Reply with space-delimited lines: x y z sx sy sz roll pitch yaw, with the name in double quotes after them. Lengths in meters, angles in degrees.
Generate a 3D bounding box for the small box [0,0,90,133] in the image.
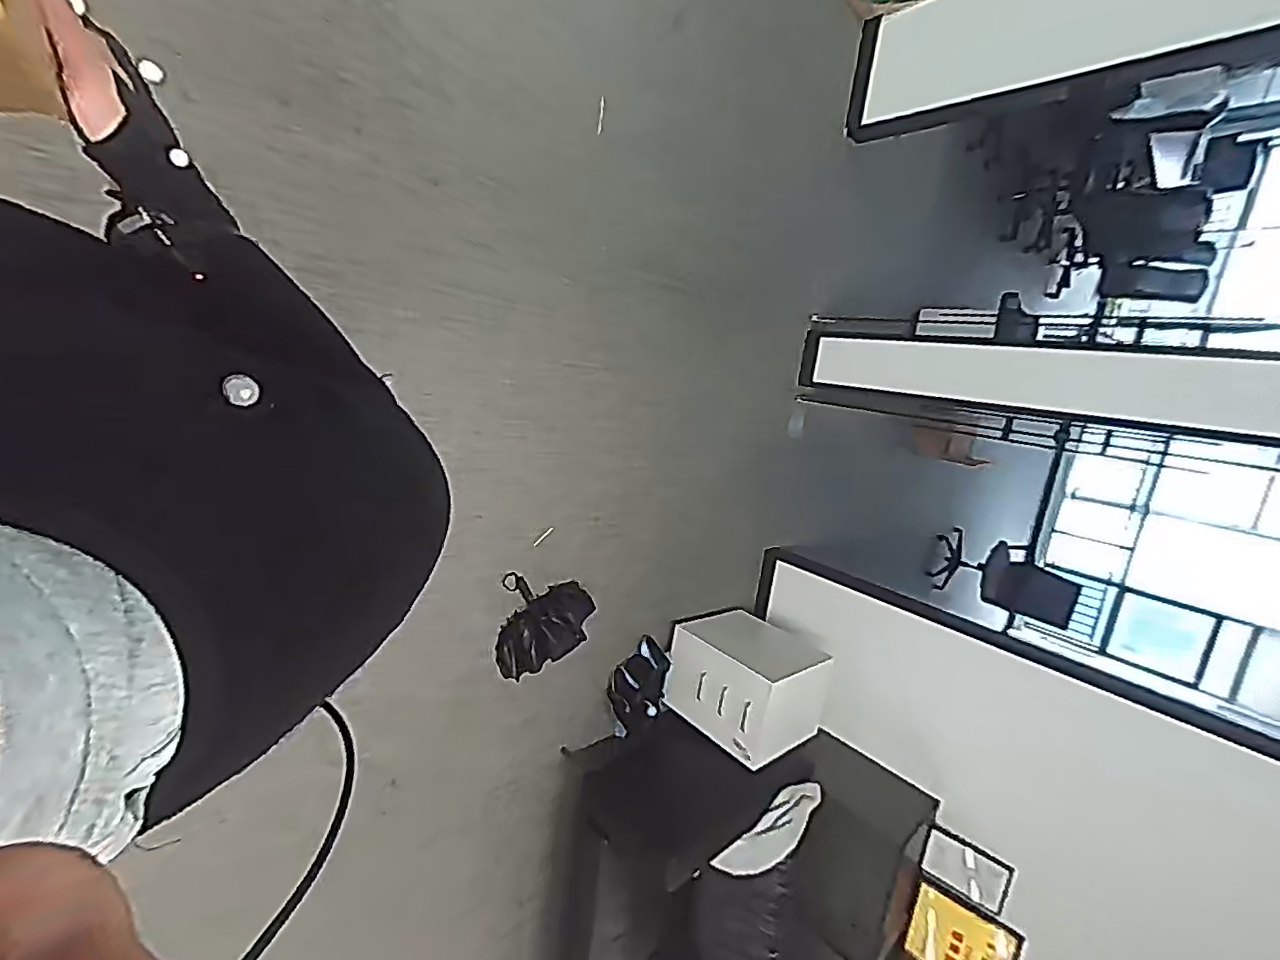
-0.452 -0.319 0.294 0.179 0.176 0.168 -10 106 -36 "small box"
